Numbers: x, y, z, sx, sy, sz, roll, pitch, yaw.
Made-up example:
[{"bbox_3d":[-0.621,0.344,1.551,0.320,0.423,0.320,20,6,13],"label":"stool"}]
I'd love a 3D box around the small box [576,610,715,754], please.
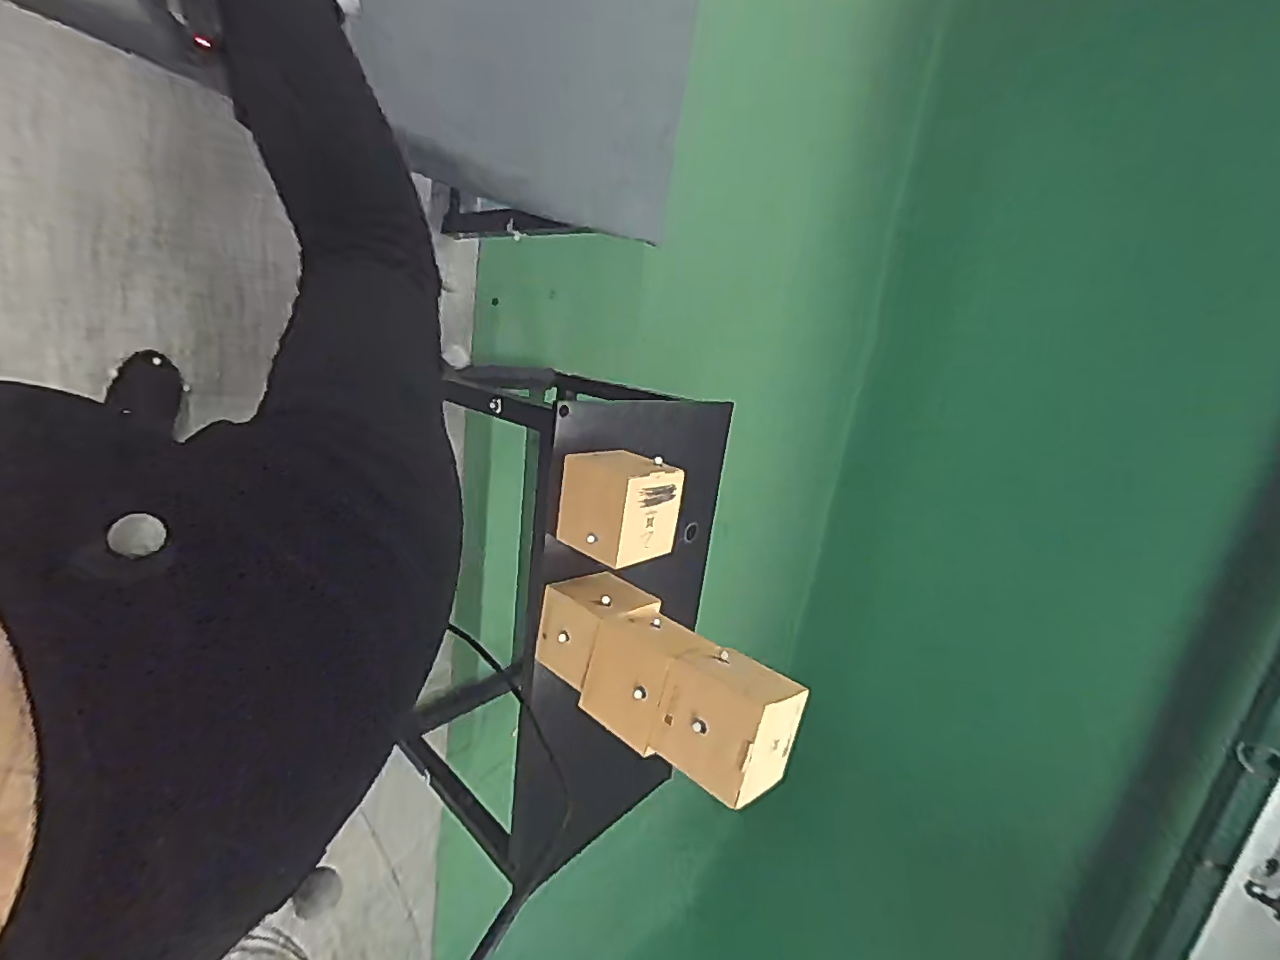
[{"bbox_3d":[0.006,0.357,0.994,0.168,0.176,0.179,10,98,-51],"label":"small box"}]

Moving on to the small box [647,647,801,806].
[{"bbox_3d":[0.138,0.395,0.902,0.179,0.176,0.168,15,93,-50],"label":"small box"}]

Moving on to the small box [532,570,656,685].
[{"bbox_3d":[-0.097,0.299,1.106,0.179,0.176,0.168,-2,108,-50],"label":"small box"}]
